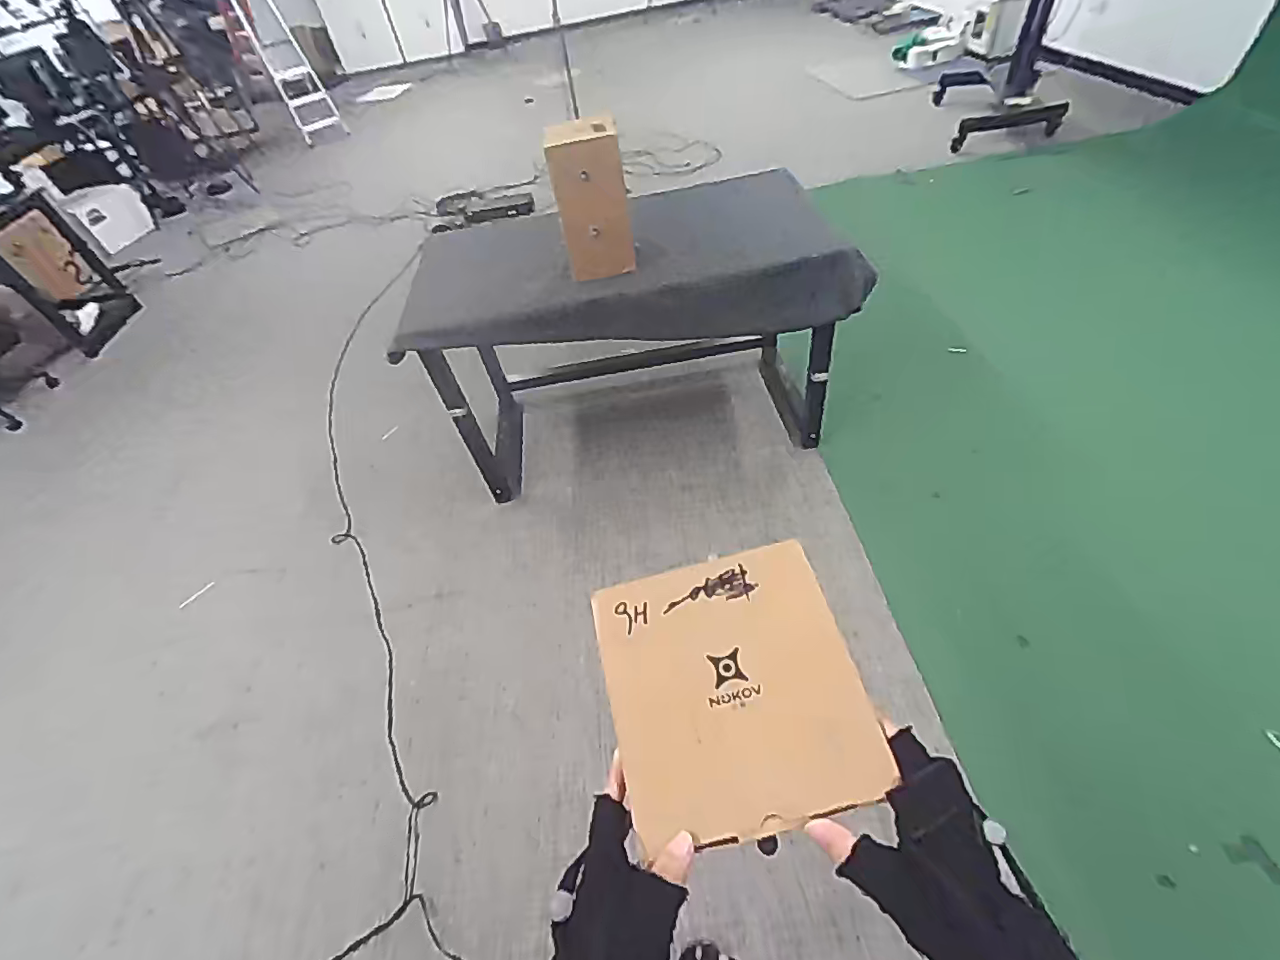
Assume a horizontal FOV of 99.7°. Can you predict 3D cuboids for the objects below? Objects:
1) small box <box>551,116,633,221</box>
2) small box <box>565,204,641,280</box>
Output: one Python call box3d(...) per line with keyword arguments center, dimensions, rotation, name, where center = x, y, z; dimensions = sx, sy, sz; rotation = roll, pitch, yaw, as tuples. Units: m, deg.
box3d(center=(-0.115, -0.768, 1.338), dimensions=(0.179, 0.176, 0.168), rotation=(-10, 48, 0), name="small box")
box3d(center=(-0.098, -0.658, 1.459), dimensions=(0.179, 0.176, 0.168), rotation=(-8, 48, 1), name="small box")
